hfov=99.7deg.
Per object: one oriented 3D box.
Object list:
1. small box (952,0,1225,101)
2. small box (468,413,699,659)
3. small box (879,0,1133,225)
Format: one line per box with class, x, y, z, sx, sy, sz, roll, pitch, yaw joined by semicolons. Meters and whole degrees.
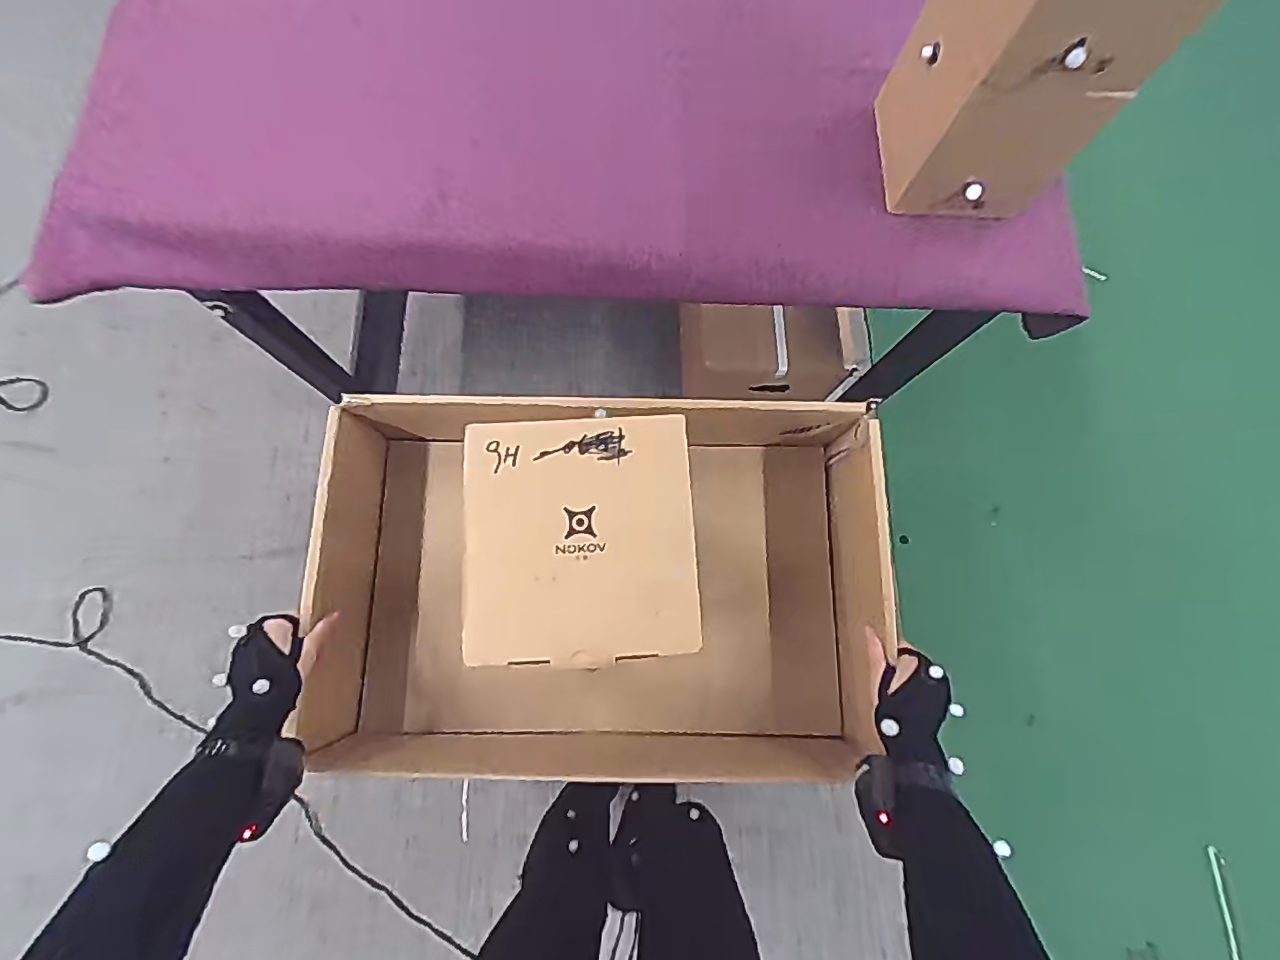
small box;0.398;-0.472;0.464;0.168;0.176;0.179;-1;75;-3
small box;-0.042;0.052;0.470;0.168;0.176;0.179;-2;78;-2
small box;0.395;-0.429;0.621;0.168;0.176;0.179;1;75;-2
